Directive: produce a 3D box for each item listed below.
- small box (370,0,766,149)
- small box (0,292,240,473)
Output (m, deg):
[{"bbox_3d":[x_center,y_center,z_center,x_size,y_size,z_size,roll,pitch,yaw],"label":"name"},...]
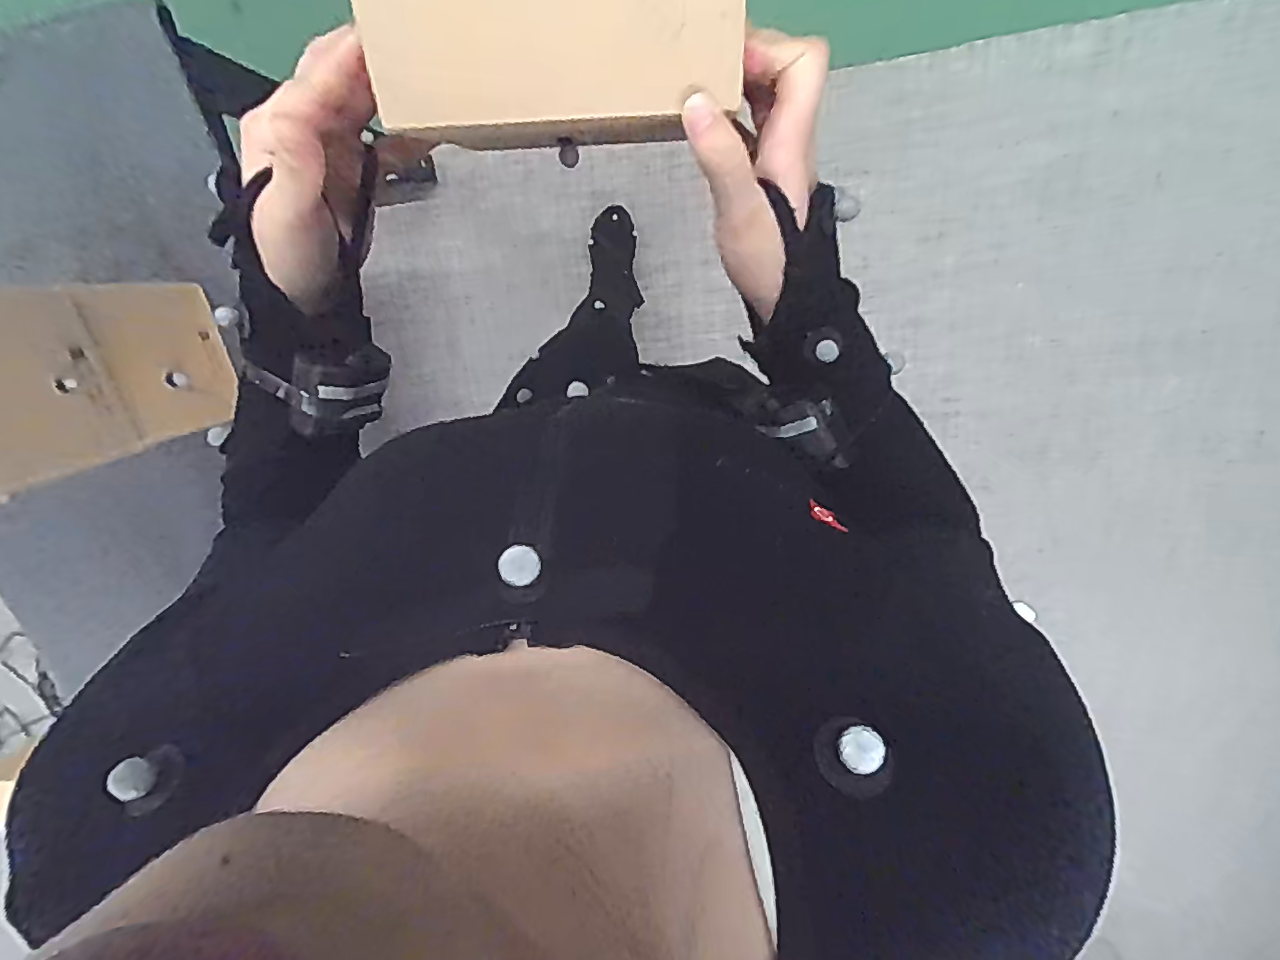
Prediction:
[{"bbox_3d":[-0.032,-0.272,0.272,0.168,0.176,0.179,-3,119,-1],"label":"small box"},{"bbox_3d":[-0.615,-0.120,0.627,0.179,0.176,0.168,-6,110,7],"label":"small box"}]
